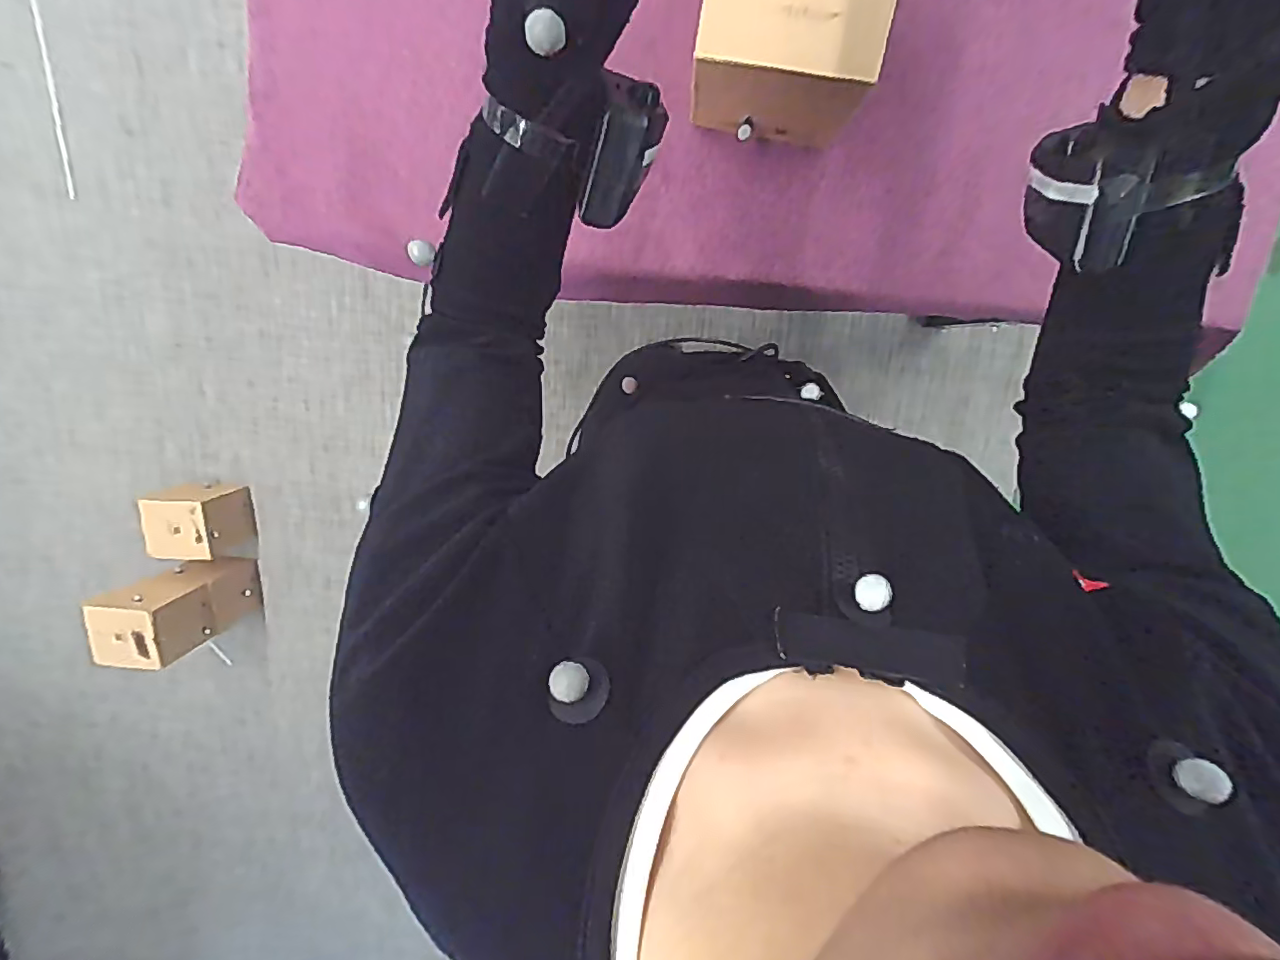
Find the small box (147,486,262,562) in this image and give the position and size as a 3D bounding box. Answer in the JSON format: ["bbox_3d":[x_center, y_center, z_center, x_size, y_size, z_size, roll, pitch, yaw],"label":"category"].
[{"bbox_3d":[-1.209,0.118,1.512,0.179,0.176,0.168,2,105,3],"label":"small box"}]

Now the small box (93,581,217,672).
[{"bbox_3d":[-1.248,0.375,1.411,0.179,0.176,0.168,4,104,3],"label":"small box"}]

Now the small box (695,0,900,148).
[{"bbox_3d":[0.149,-0.462,0.532,0.168,0.176,0.179,10,105,2],"label":"small box"}]
